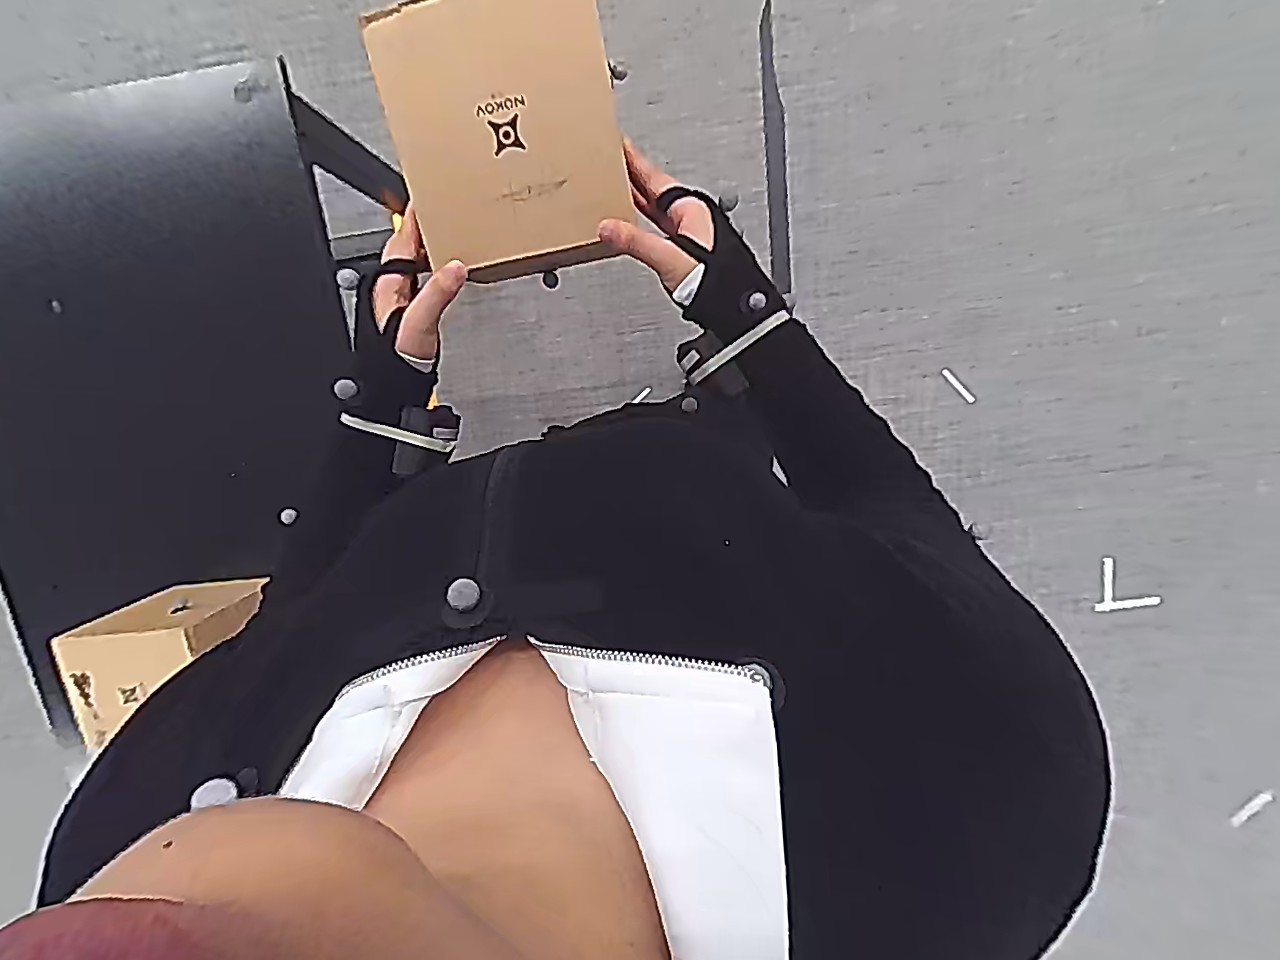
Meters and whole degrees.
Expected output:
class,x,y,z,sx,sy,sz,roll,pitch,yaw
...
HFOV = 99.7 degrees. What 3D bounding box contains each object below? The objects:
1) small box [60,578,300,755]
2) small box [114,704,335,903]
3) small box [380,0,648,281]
class,x,y,z,sx,sy,sz,roll,pitch,yaw
small box,-0.601,0.243,0.739,0.179,0.176,0.168,-6,100,3
small box,-0.575,0.453,0.776,0.168,0.176,0.179,-8,99,3
small box,-0.089,-0.283,0.477,0.168,0.176,0.179,-10,108,4
